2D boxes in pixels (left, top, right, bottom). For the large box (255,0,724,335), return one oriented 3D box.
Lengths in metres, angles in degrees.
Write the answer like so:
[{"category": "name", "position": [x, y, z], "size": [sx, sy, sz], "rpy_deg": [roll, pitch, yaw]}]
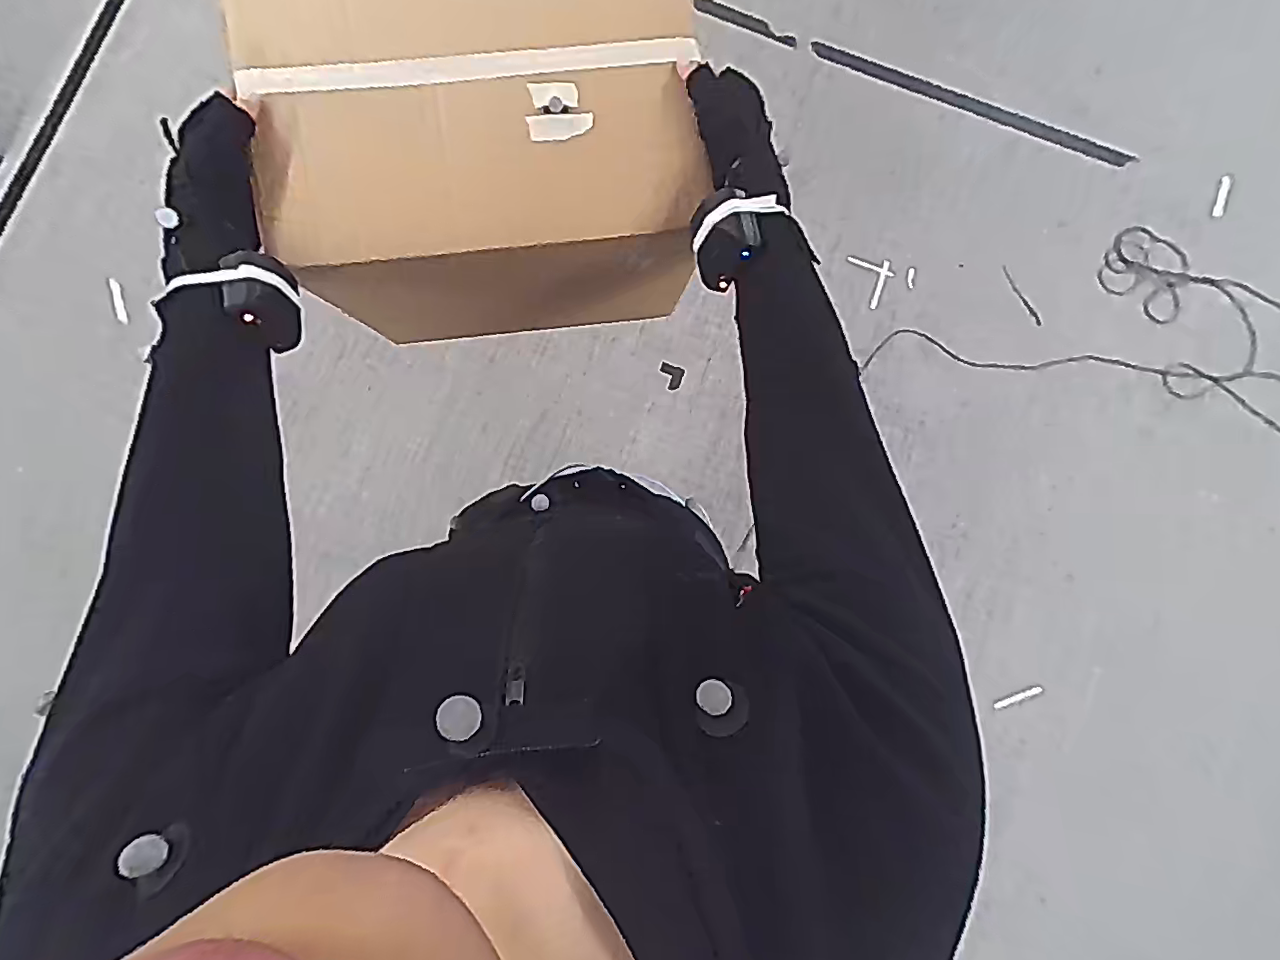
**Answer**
[{"category": "large box", "position": [-0.148, -0.377, 0.639], "size": [0.408, 0.320, 0.320], "rpy_deg": [-7, 93, -5]}]
